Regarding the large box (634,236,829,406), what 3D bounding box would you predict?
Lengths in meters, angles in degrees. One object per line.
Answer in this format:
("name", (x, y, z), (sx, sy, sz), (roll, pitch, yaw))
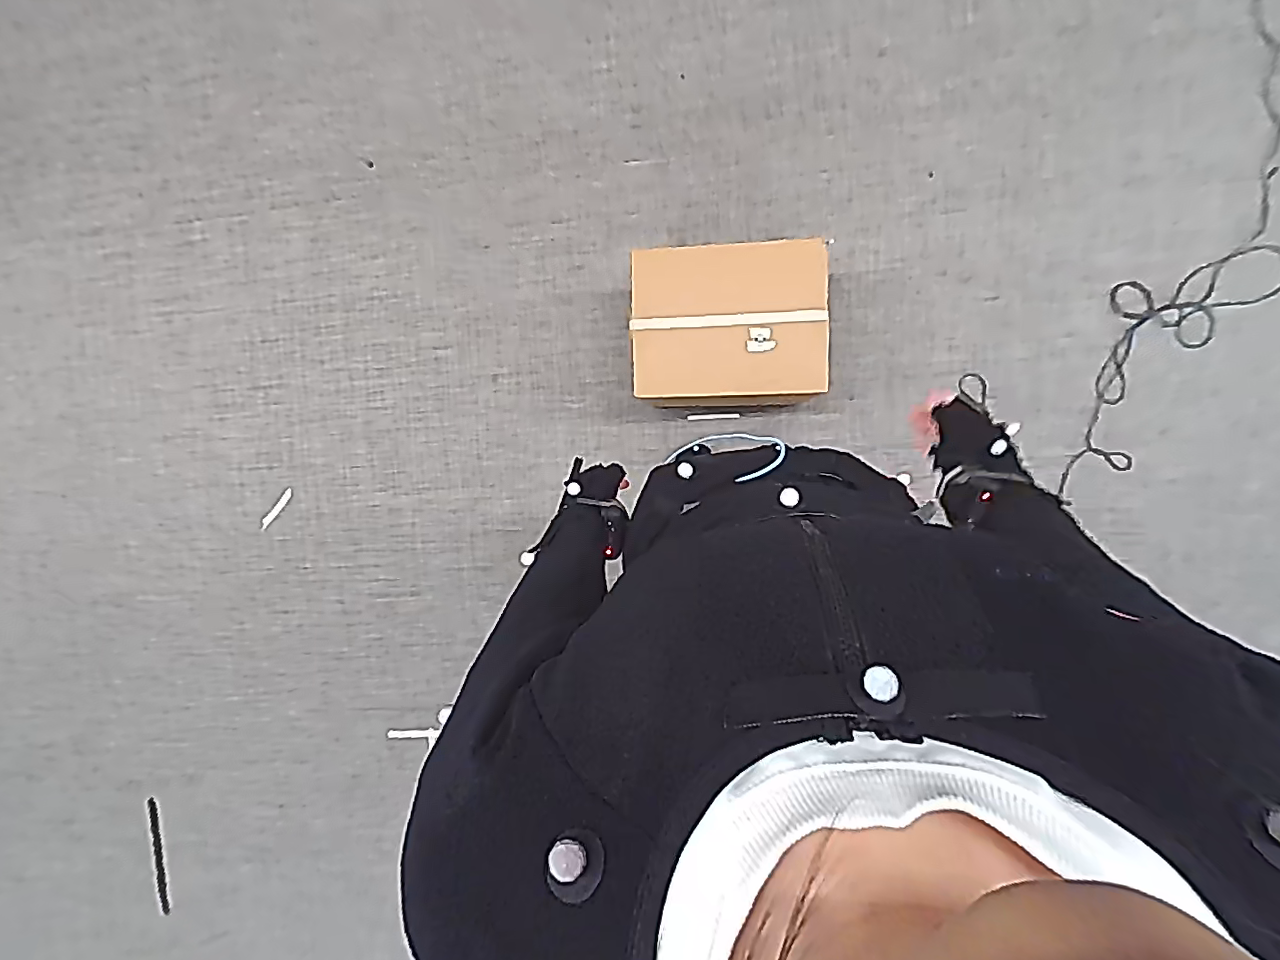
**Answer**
("large box", (0.205, -0.347, 1.276), (0.408, 0.320, 0.320), (-1, 94, 7))
